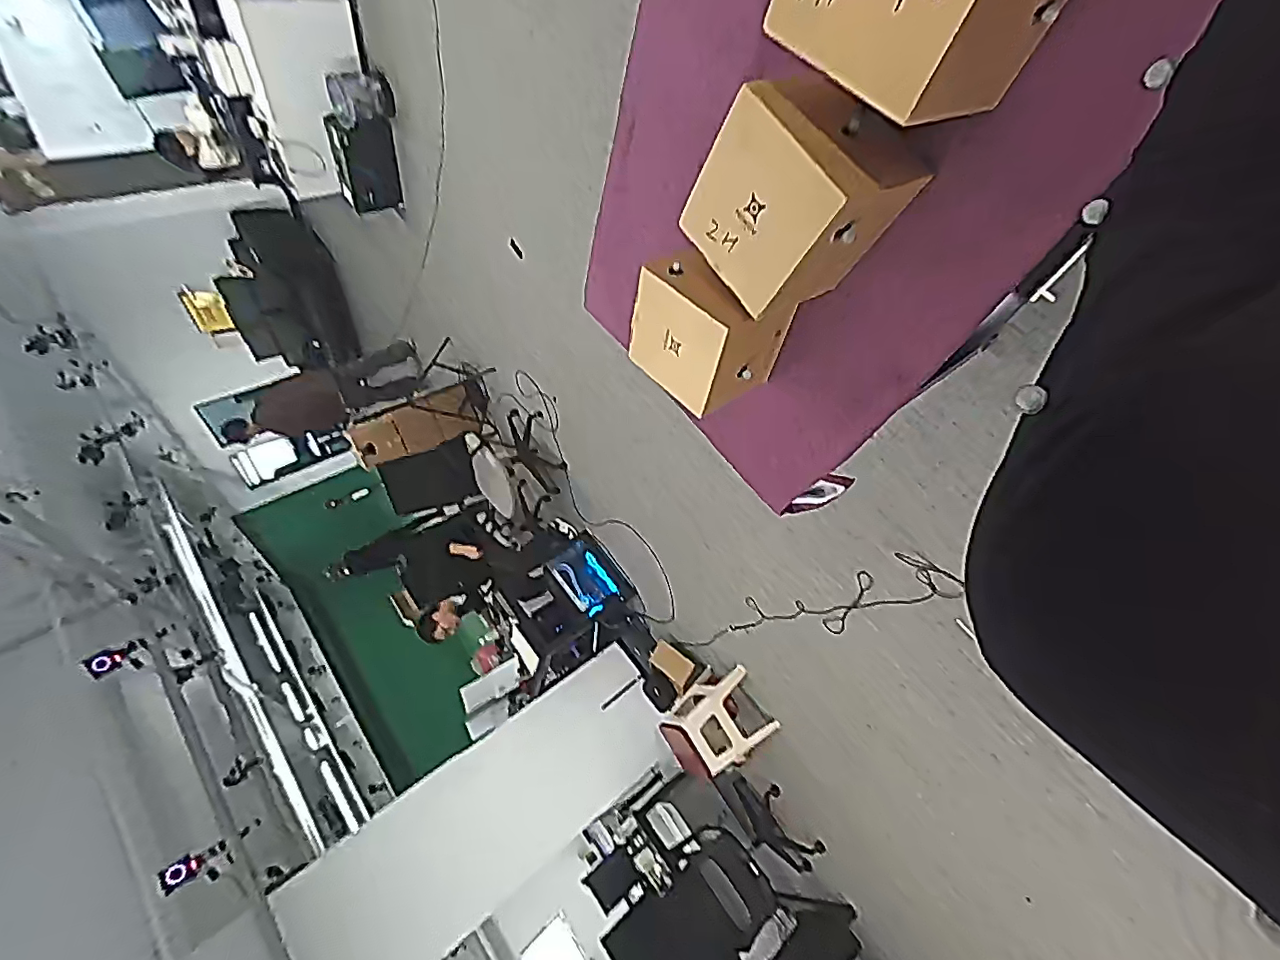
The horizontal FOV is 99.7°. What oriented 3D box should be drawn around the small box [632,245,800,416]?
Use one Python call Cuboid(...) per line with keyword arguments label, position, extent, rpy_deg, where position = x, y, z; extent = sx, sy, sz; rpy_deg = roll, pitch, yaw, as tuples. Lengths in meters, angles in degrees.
Cuboid(label="small box", position=(0.112, -0.236, 0.829), extent=(0.179, 0.176, 0.168), rpy_deg=(45, 147, 25))
